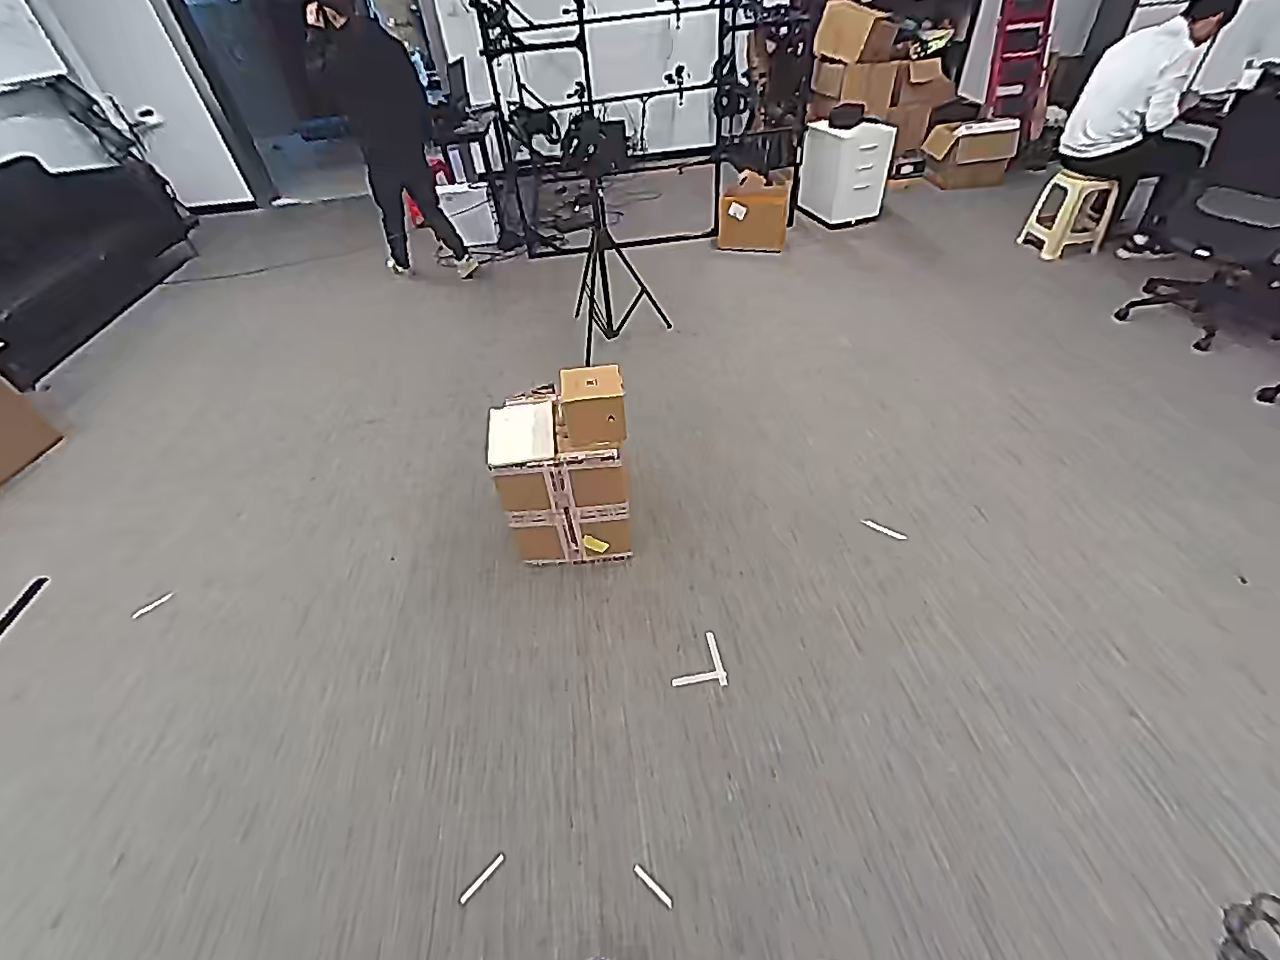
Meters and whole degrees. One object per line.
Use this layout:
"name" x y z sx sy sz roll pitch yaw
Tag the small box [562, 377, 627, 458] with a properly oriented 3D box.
"small box" -0.135 -0.185 1.621 0.179 0.176 0.168 -8 44 -4
